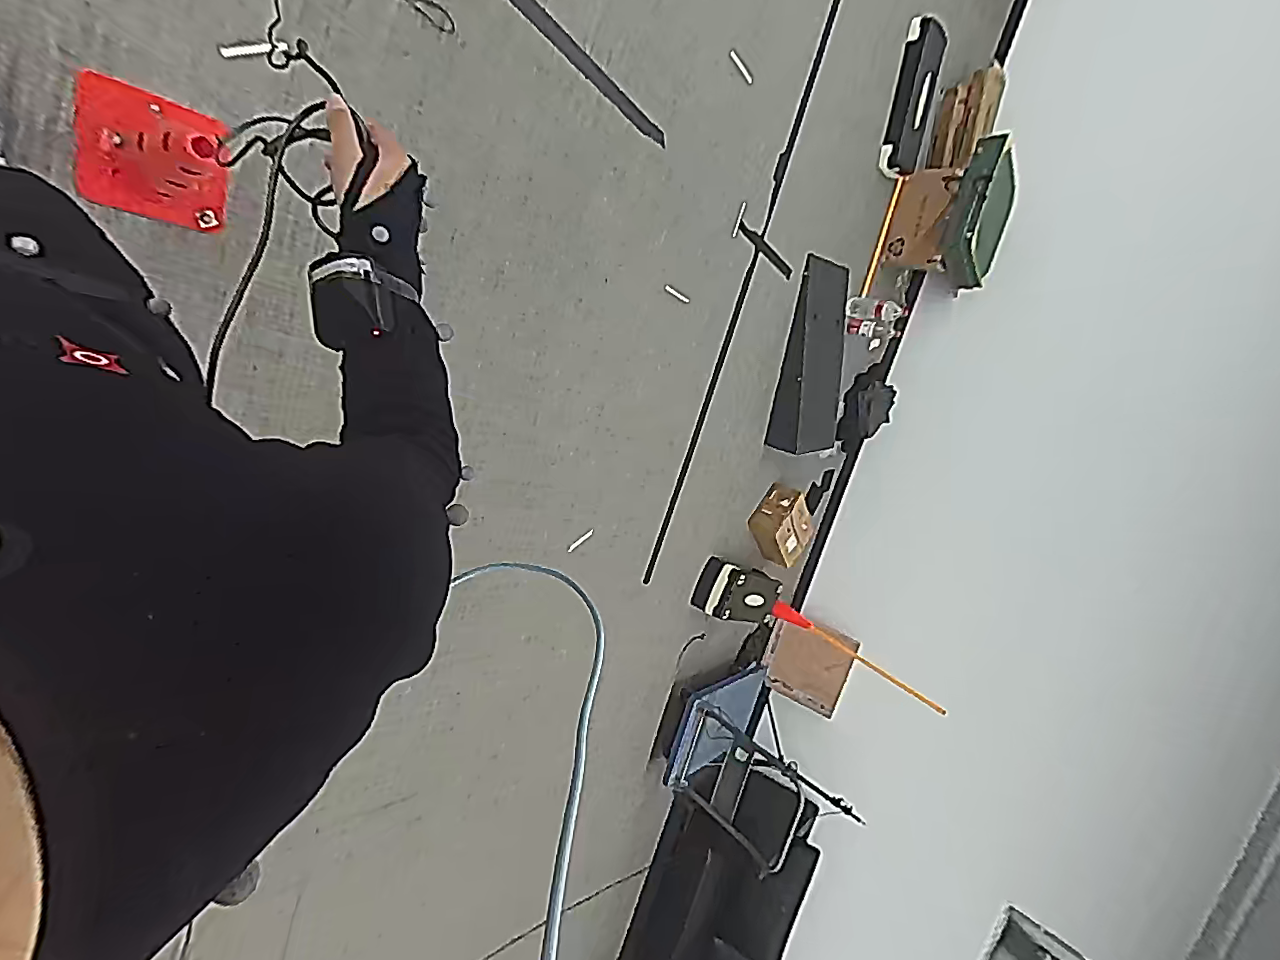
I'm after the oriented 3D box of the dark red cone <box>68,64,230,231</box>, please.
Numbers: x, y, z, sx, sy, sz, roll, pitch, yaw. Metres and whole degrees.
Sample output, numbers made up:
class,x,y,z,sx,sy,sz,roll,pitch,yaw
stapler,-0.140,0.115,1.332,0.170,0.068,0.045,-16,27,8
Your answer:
class,x,y,z,sx,sy,sz,roll,pitch,yaw
dark red cone,-0.705,-0.502,0.815,0.202,0.394,0.201,-2,109,-49
